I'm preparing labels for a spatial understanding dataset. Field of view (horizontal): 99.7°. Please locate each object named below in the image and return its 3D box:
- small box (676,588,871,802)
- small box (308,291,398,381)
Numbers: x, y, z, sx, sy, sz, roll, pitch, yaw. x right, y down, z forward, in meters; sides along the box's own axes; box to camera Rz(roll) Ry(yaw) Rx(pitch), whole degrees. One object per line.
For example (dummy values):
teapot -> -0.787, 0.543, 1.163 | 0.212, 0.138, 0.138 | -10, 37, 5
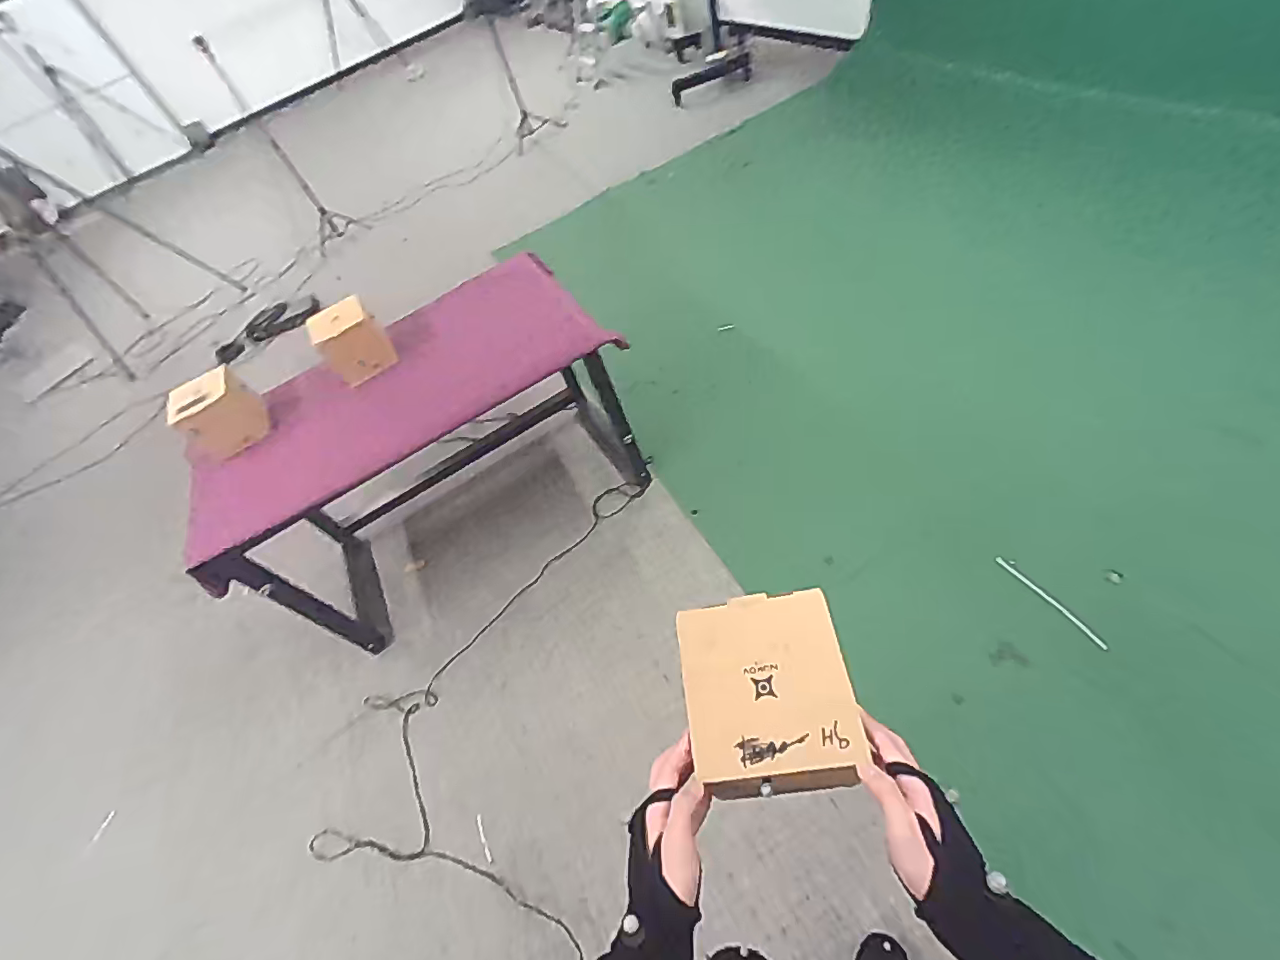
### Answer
small box -> 0.141, 0.246, 0.607 | 0.168, 0.176, 0.179 | -12, 53, 9
small box -> -0.862, -0.432, 1.632 | 0.168, 0.176, 0.179 | -32, 52, -8
